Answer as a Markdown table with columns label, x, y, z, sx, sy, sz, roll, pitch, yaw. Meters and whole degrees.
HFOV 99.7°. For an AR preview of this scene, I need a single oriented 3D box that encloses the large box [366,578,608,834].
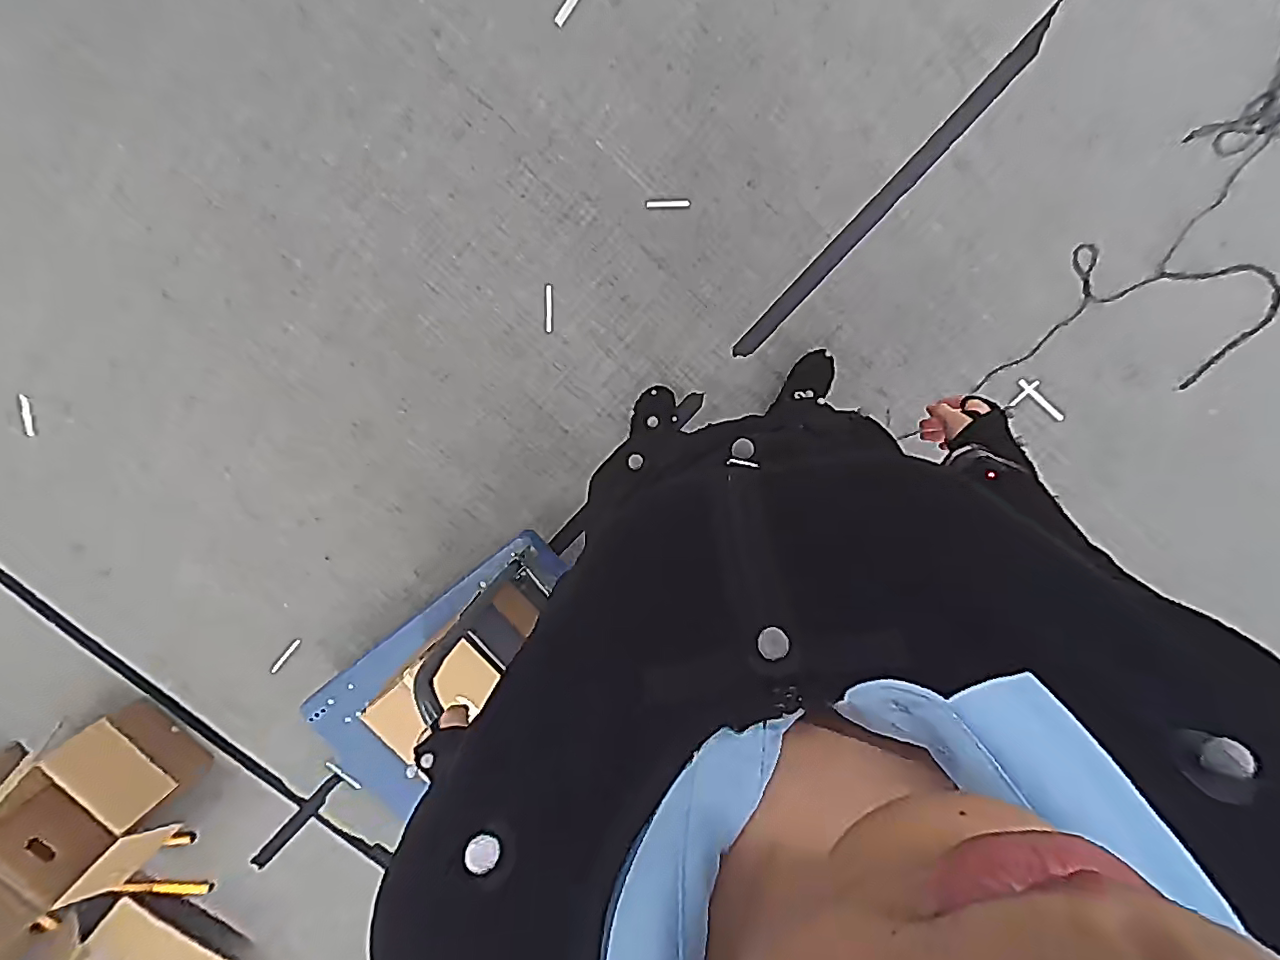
| label | x | y | z | sx | sy | sz | roll | pitch | yaw |
| --- | --- | --- | --- | --- | --- | --- | --- | --- | --- |
| large box | -0.336 | 0.519 | 1.298 | 0.320 | 0.320 | 0.408 | -41 | 95 | 10 |
